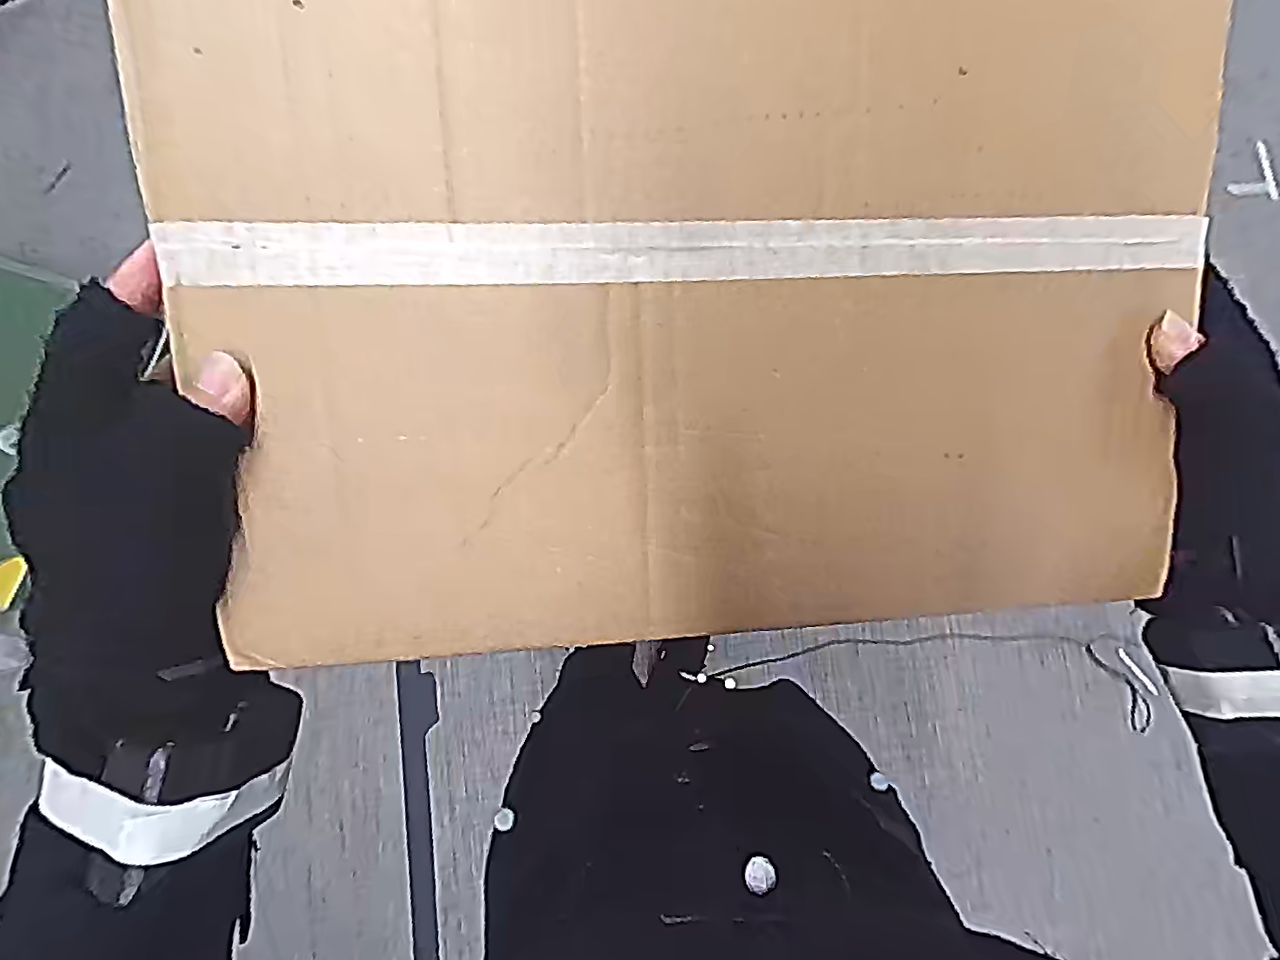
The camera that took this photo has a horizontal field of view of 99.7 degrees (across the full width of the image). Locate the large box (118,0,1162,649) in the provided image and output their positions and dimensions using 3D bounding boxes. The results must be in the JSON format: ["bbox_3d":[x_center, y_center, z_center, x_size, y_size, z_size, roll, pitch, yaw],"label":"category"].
[{"bbox_3d":[0.007,-0.119,0.367,0.408,0.320,0.320,-4,99,-6],"label":"large box"}]
